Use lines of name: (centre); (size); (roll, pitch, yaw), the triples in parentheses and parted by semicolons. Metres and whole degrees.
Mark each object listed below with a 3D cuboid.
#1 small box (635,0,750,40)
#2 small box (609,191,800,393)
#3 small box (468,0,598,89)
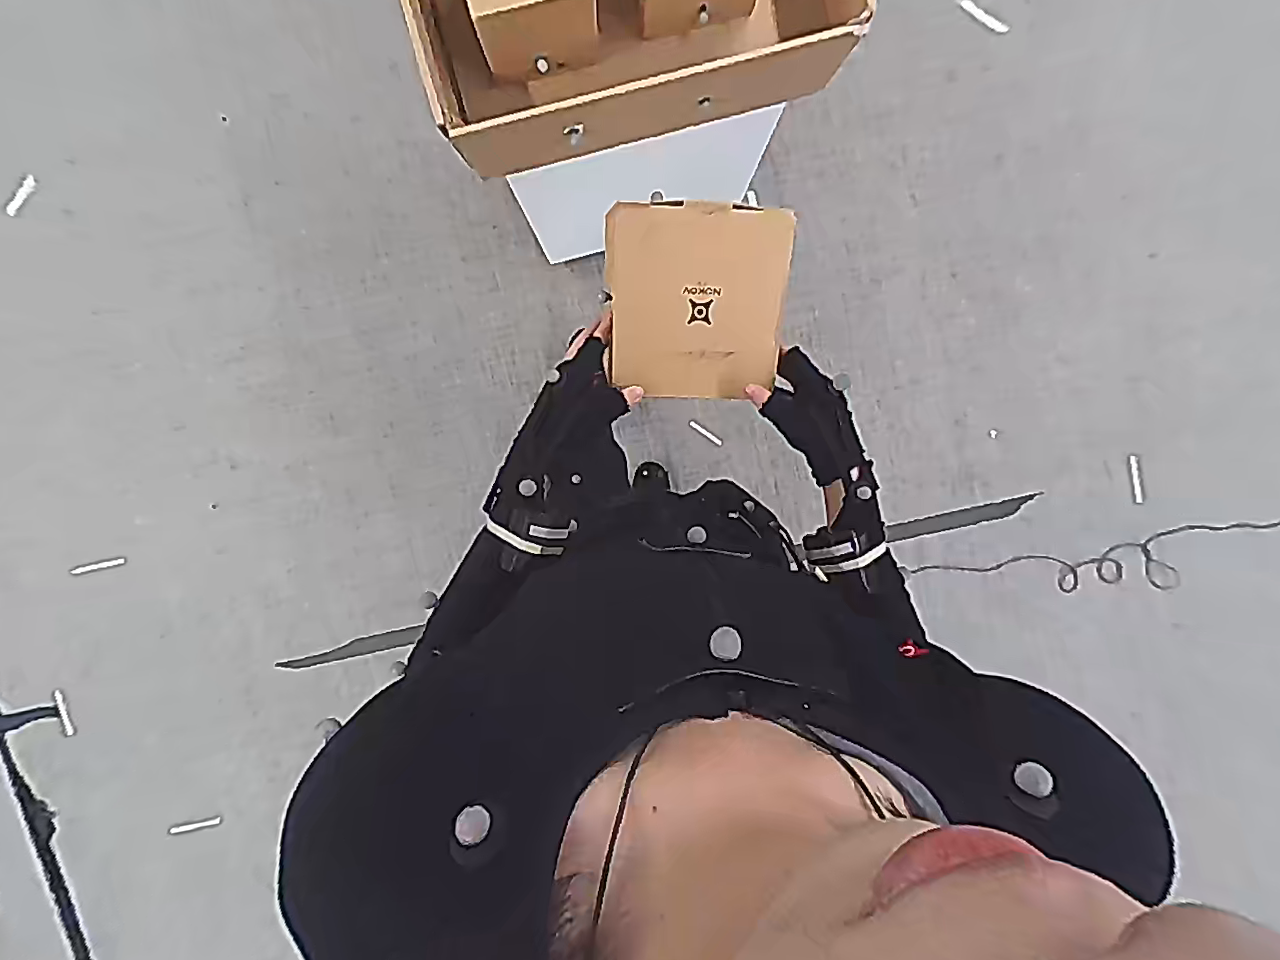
small box: (0.074, -0.769, 0.754); (0.179, 0.176, 0.168); (-14, 99, 2)
small box: (0.052, -0.197, 0.578); (0.168, 0.176, 0.179); (-1, 112, -6)
small box: (-0.158, -0.701, 0.757); (0.168, 0.176, 0.179); (-14, 100, 0)
